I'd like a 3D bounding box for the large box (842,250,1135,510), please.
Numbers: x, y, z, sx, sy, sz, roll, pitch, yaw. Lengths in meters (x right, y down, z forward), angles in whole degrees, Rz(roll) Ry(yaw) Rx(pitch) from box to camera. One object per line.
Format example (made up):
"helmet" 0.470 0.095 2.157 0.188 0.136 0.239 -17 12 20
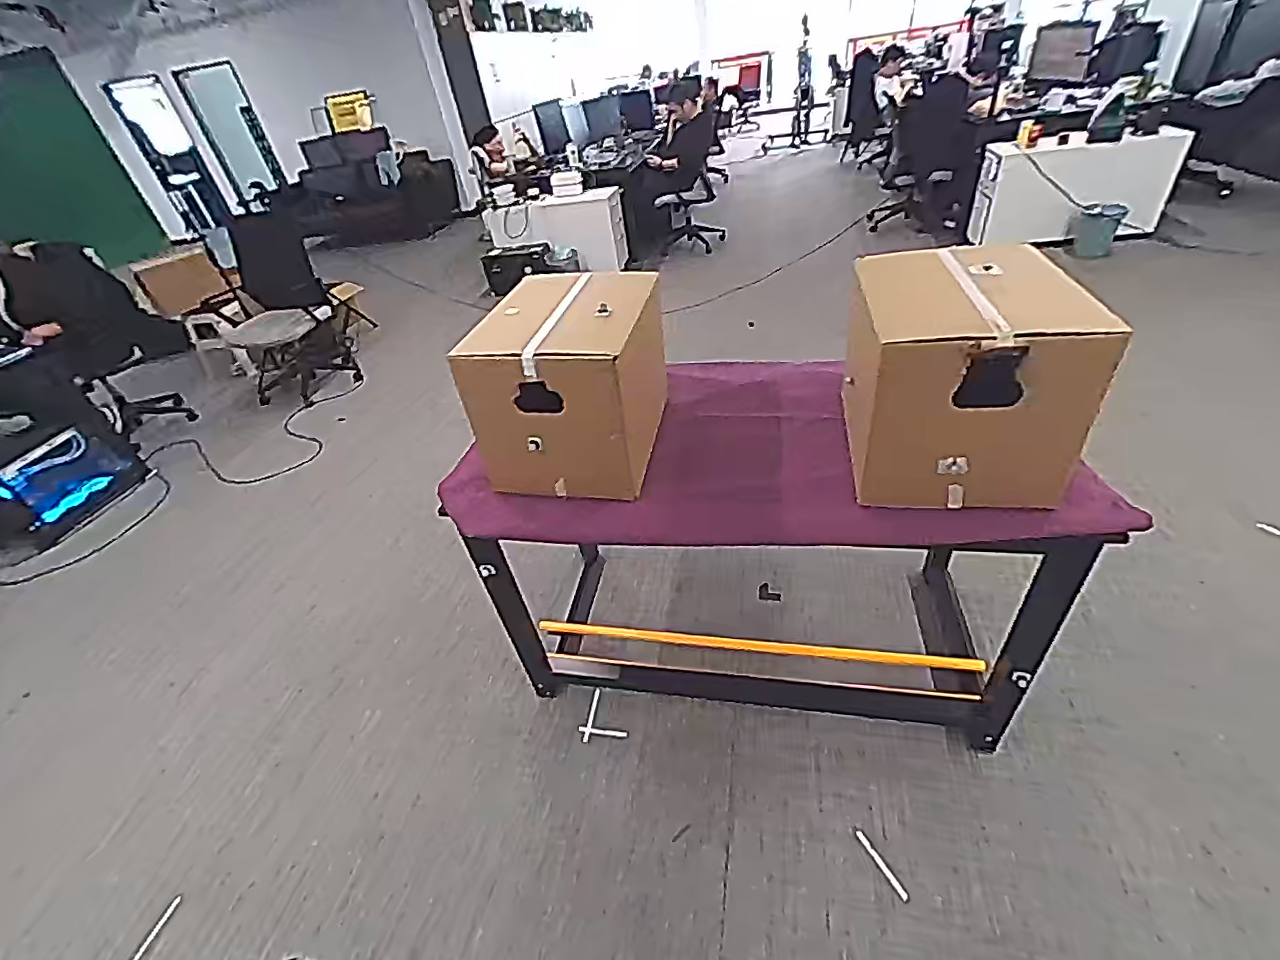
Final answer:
"large box" 0.554 -0.187 0.973 0.320 0.320 0.408 1 38 13
